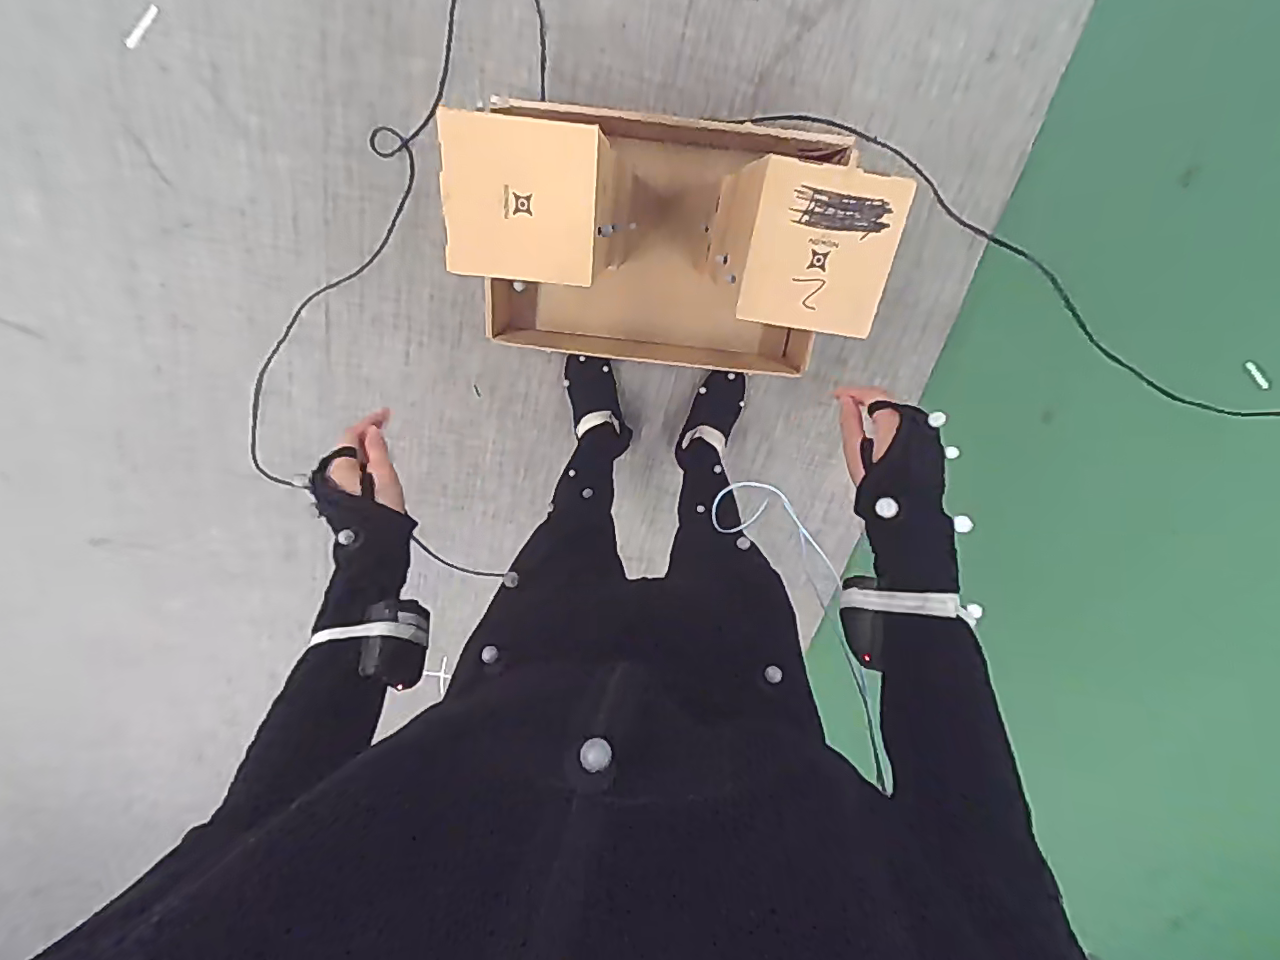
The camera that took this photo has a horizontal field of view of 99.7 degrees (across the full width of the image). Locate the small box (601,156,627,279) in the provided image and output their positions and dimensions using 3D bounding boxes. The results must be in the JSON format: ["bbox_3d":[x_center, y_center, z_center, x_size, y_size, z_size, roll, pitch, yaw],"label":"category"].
[{"bbox_3d":[-0.121,-0.413,0.829,0.179,0.176,0.168,10,115,-4],"label":"small box"}]

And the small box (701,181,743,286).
[{"bbox_3d":[0.215,-0.431,0.990,0.179,0.176,0.168,11,114,-2],"label":"small box"}]

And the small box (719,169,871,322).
[{"bbox_3d":[0.225,-0.360,0.840,0.168,0.176,0.179,10,113,-4],"label":"small box"}]

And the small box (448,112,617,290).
[{"bbox_3d":[-0.125,-0.345,0.682,0.179,0.176,0.168,6,116,0],"label":"small box"}]
